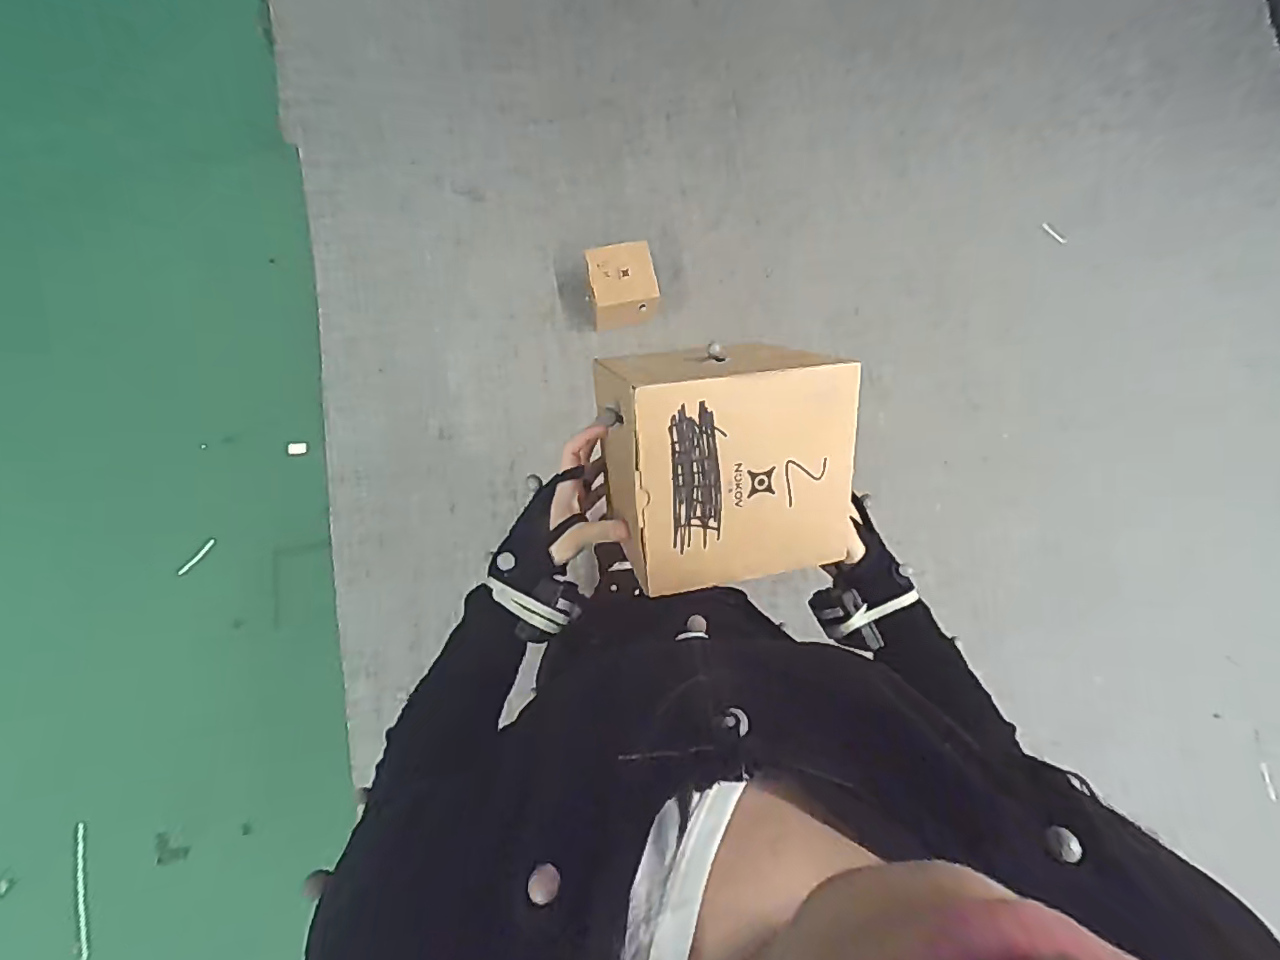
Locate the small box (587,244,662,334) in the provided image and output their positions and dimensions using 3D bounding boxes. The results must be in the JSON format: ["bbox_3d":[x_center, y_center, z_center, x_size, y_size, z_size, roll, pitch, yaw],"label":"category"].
[{"bbox_3d":[-0.048,-0.530,1.519,0.179,0.176,0.168,-13,84,-5],"label":"small box"}]
